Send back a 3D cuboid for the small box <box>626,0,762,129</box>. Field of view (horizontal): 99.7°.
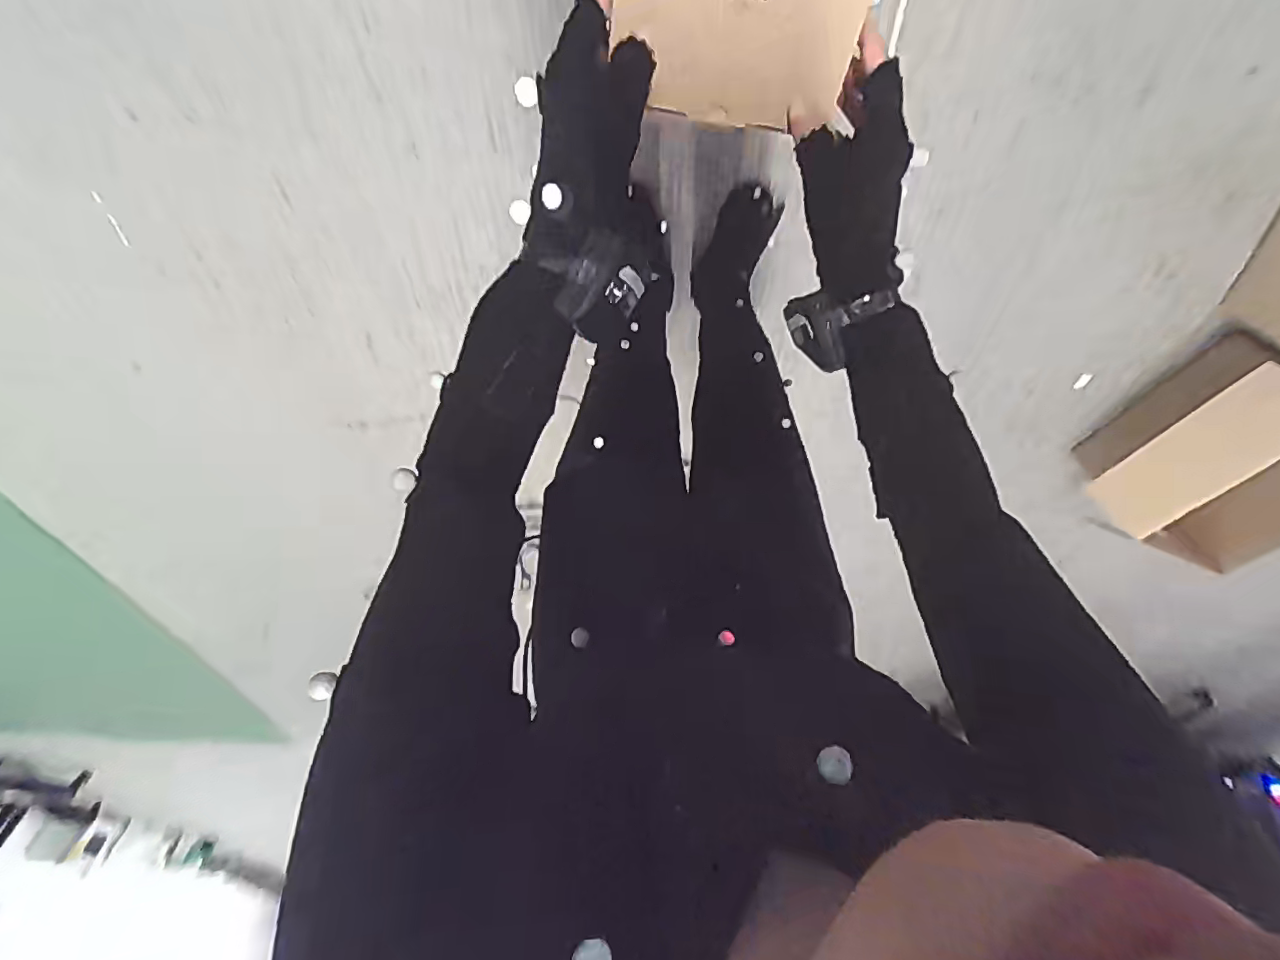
[{"bbox_3d":[0.077,-0.661,0.829,0.179,0.176,0.168,6,134,-1],"label":"small box"}]
